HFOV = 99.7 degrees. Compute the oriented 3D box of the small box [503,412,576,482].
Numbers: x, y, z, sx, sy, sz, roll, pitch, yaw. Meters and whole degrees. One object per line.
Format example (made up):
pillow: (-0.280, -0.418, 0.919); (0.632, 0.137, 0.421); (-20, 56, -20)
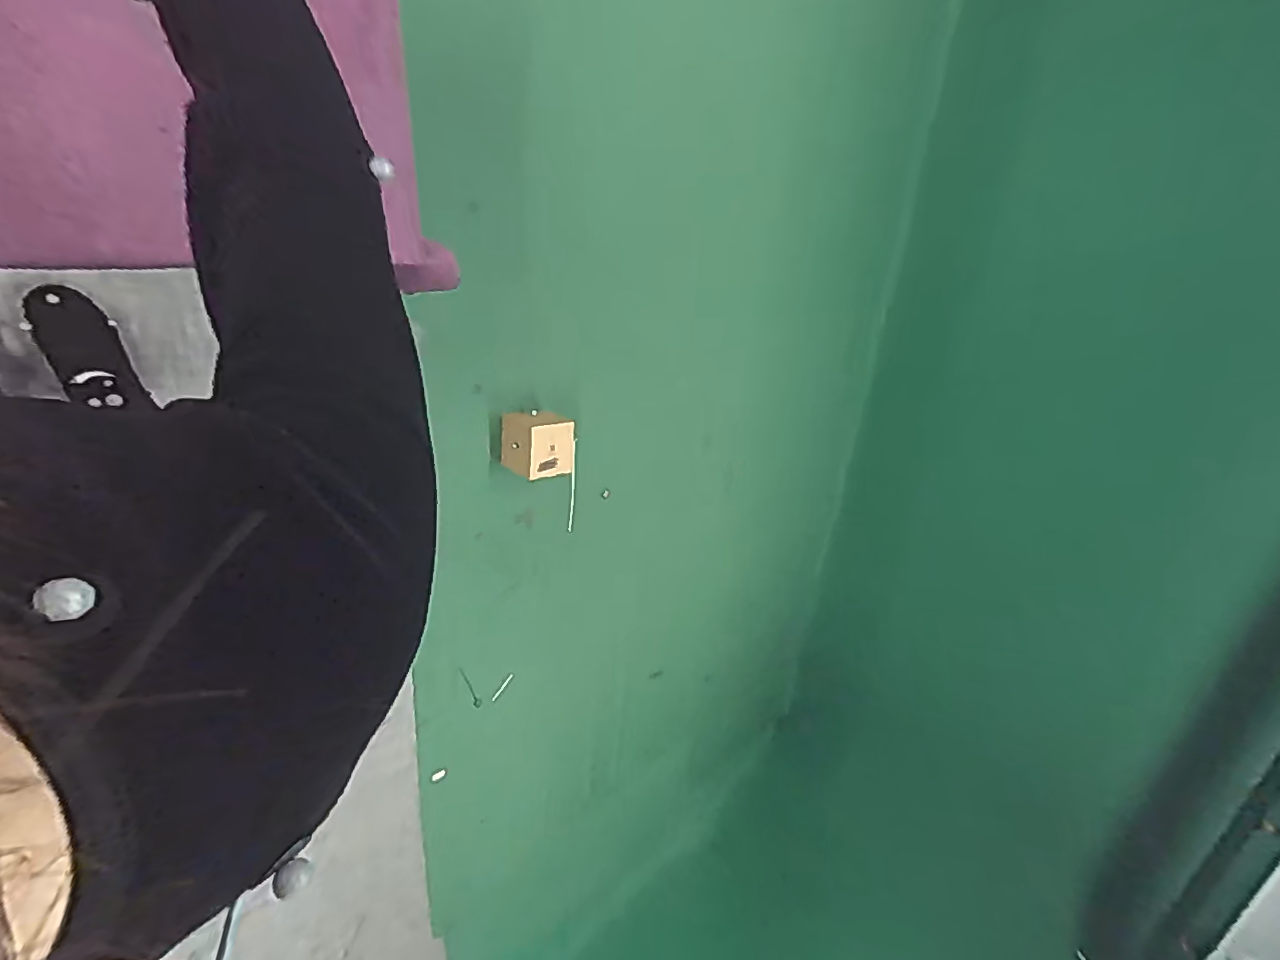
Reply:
small box: (-0.331, -0.112, 1.753); (0.168, 0.176, 0.179); (-13, 119, -43)
